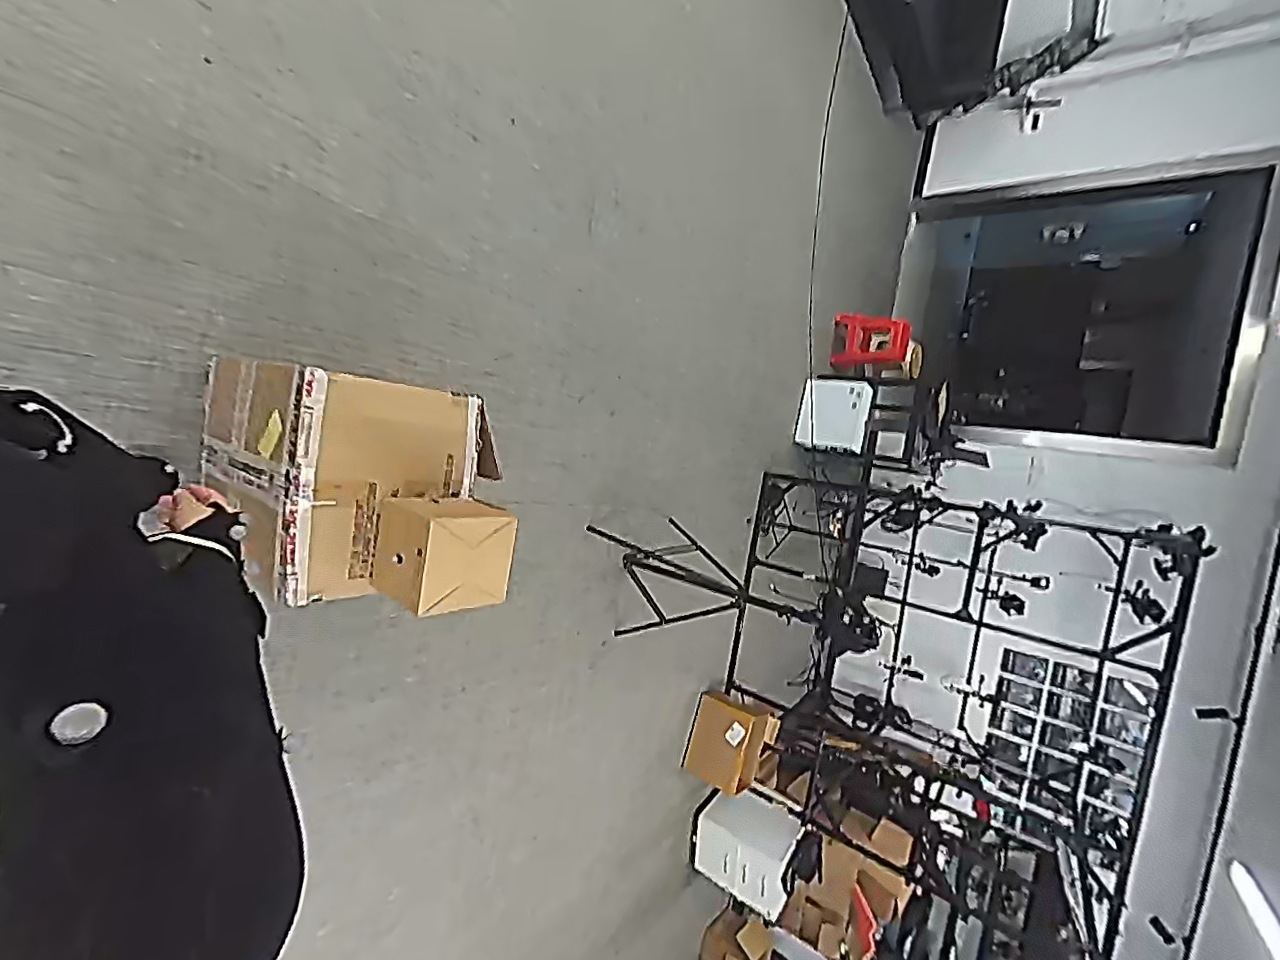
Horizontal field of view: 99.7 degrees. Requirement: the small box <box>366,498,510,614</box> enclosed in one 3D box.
[{"bbox_3d":[-0.363,0.130,0.977,0.179,0.176,0.168,3,99,-52],"label":"small box"}]
